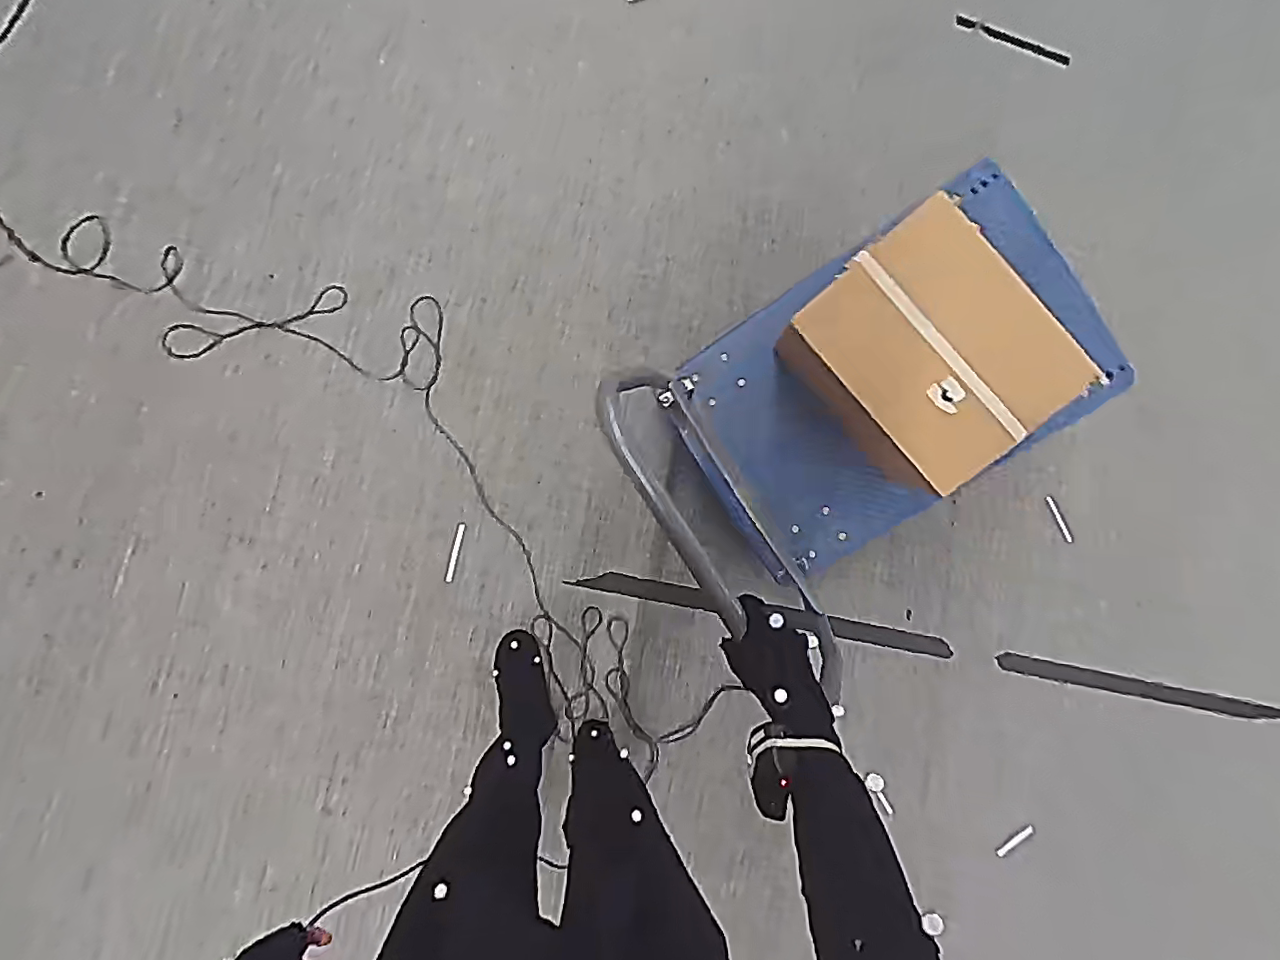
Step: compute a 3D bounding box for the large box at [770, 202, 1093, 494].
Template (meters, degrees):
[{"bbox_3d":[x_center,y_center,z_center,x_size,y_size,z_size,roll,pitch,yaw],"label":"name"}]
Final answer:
[{"bbox_3d":[0.516,-0.232,1.057,0.320,0.320,0.408,-42,89,10],"label":"large box"}]
